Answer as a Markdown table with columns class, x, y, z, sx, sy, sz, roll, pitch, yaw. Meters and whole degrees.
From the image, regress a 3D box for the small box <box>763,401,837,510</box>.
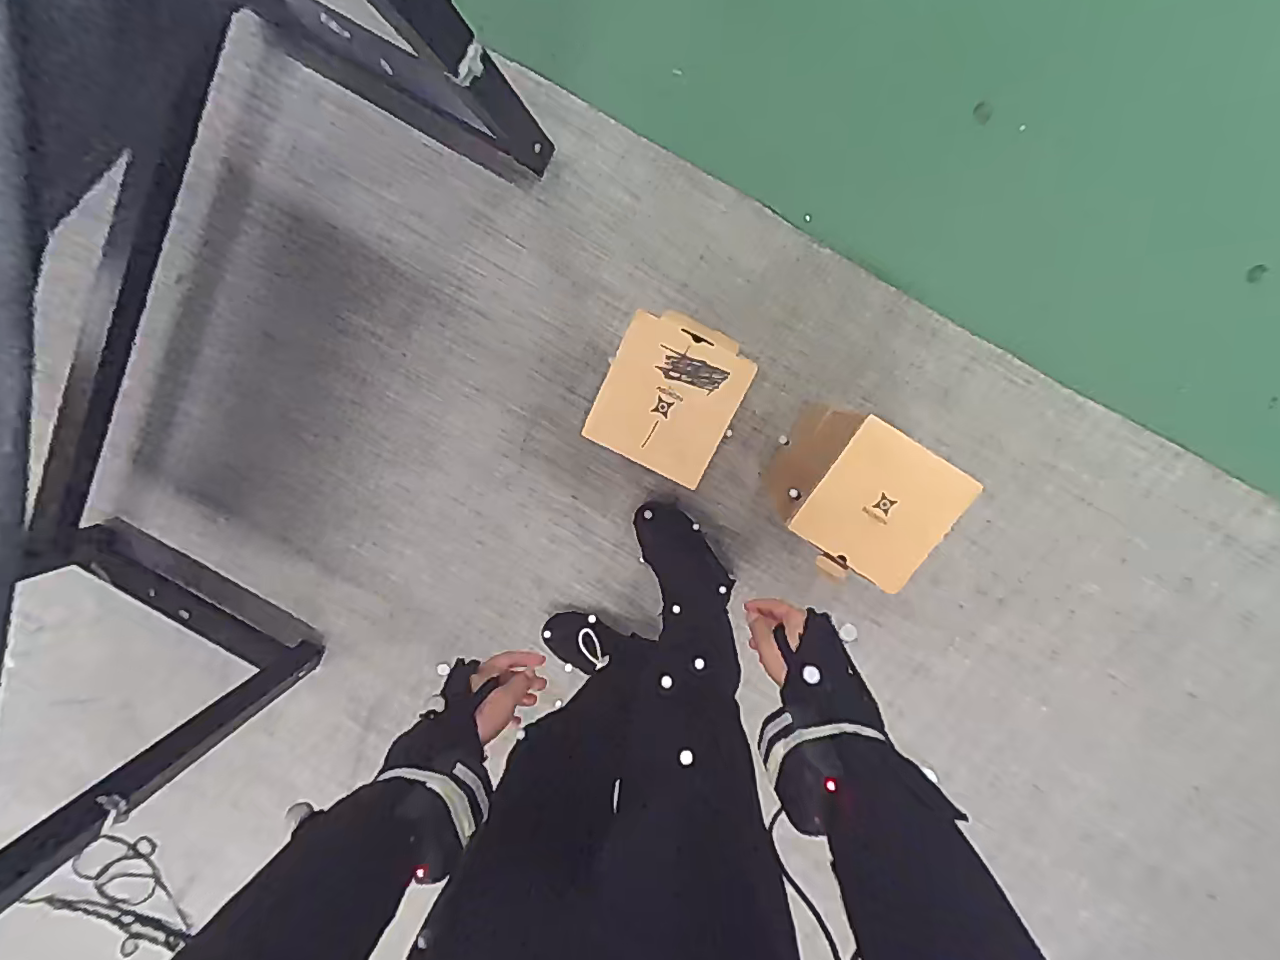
| class | x | y | z | sx | sy | sz | roll | pitch | yaw |
| --- | --- | --- | --- | --- | --- | --- | --- | --- | --- |
| small box | 0.318 | -0.014 | 0.896 | 0.168 | 0.176 | 0.179 | 31 | 105 | -1 |

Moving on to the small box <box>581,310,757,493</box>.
| class | x | y | z | sx | sy | sz | roll | pitch | yaw |
| --- | --- | --- | --- | --- | --- | --- | --- | --- | --- |
| small box | 0.041 | -0.109 | 0.742 | 0.168 | 0.176 | 0.179 | 26 | 104 | 2 |

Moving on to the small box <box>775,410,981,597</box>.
| class | x | y | z | sx | sy | sz | roll | pitch | yaw |
| --- | --- | --- | --- | --- | --- | --- | --- | --- | --- |
| small box | 0.303 | 0.019 | 0.737 | 0.168 | 0.176 | 0.179 | 32 | 103 | -1 |
